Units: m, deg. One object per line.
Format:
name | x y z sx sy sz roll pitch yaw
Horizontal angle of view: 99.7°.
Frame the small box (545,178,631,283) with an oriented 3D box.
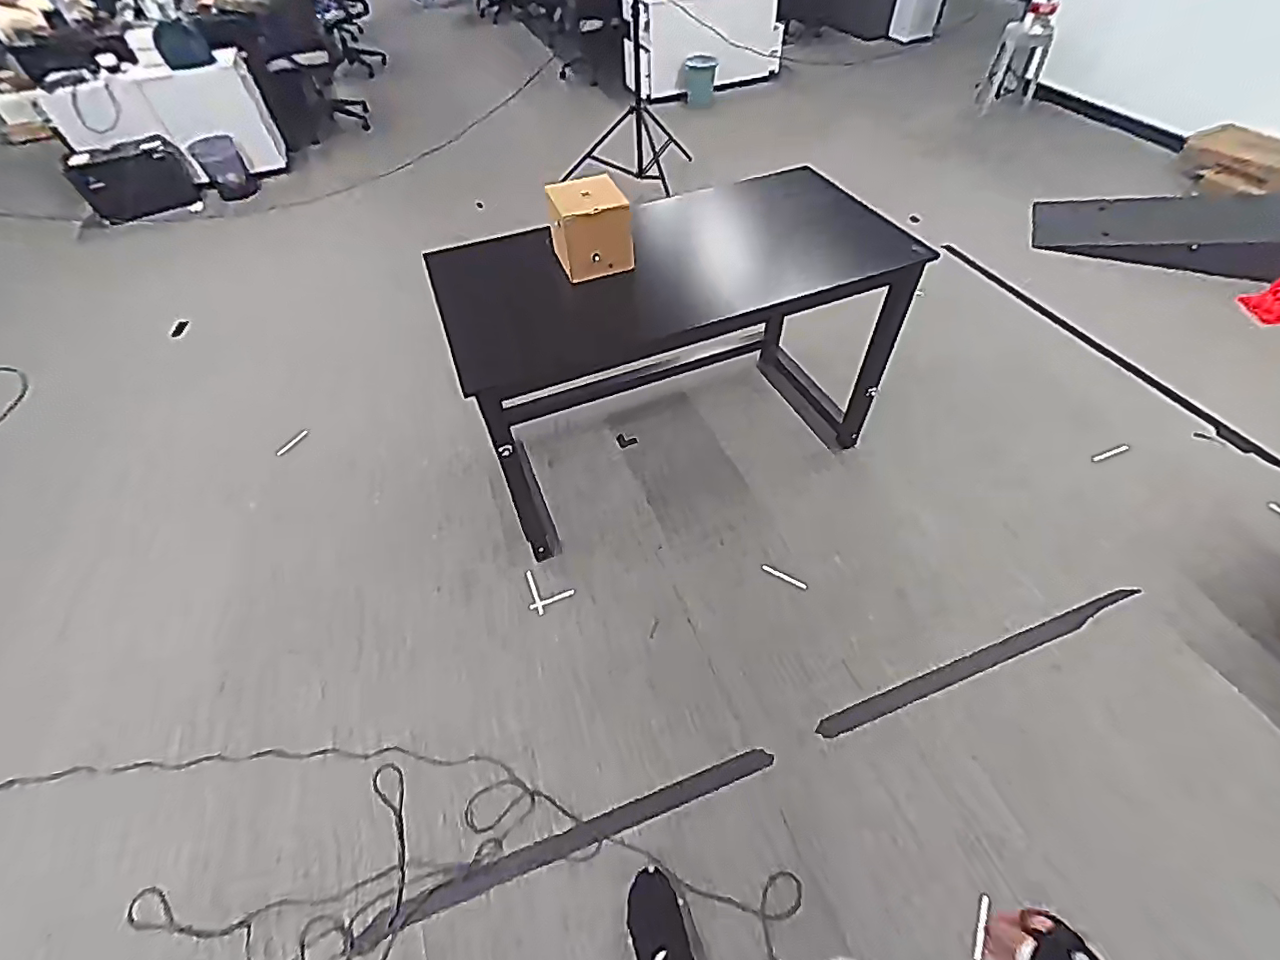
small box | -0.129 -0.625 1.358 0.168 0.176 0.179 -18 53 -11
